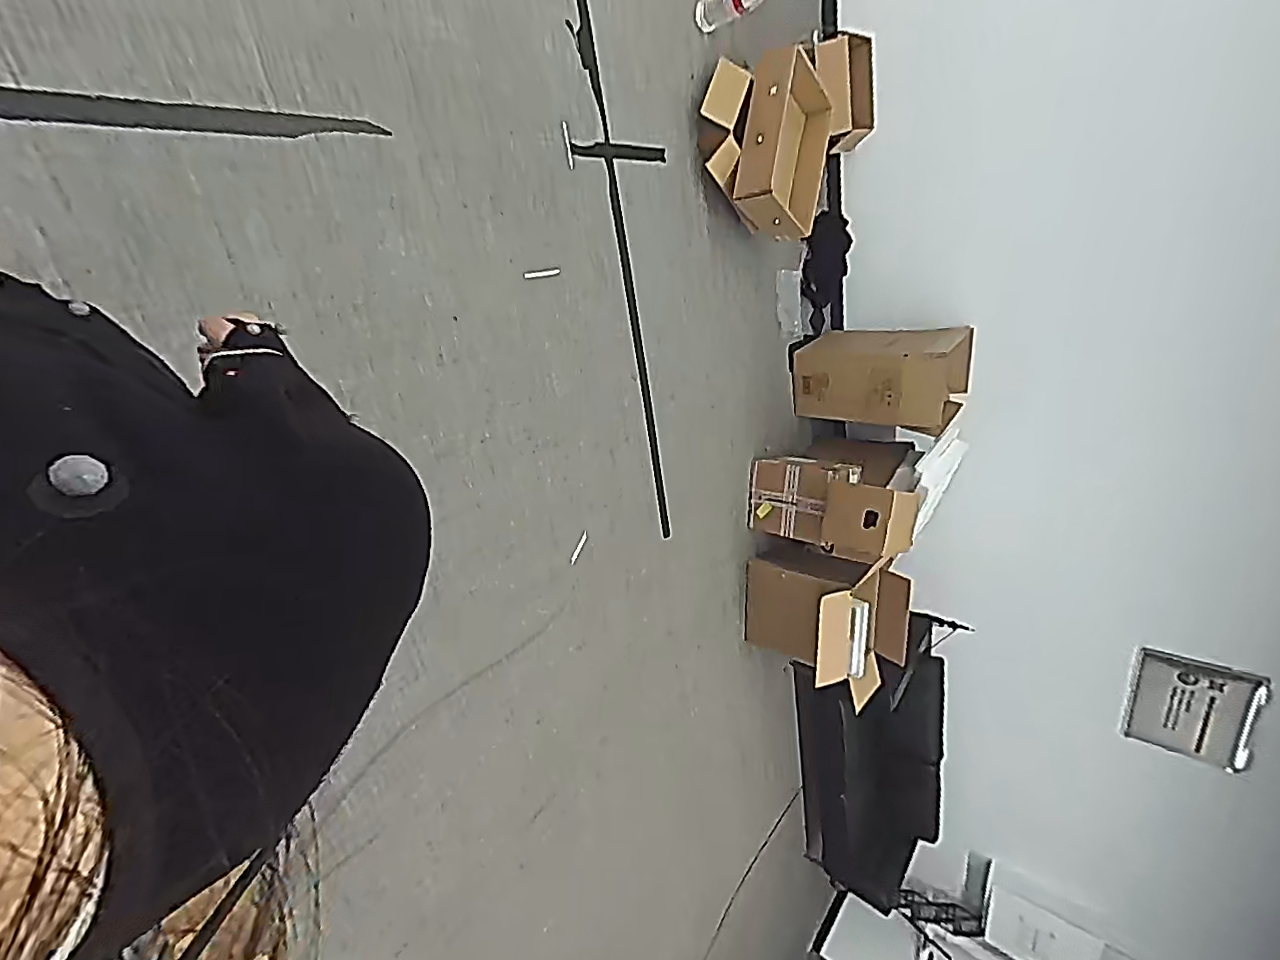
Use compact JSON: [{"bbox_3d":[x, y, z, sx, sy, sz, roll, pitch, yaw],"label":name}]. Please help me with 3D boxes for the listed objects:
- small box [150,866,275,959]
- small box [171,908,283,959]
[{"bbox_3d":[-1.013,1.065,1.280,0.168,0.176,0.179,-32,121,-40],"label":"small box"},{"bbox_3d":[-0.894,1.088,1.172,0.168,0.176,0.179,-32,121,-39],"label":"small box"}]
